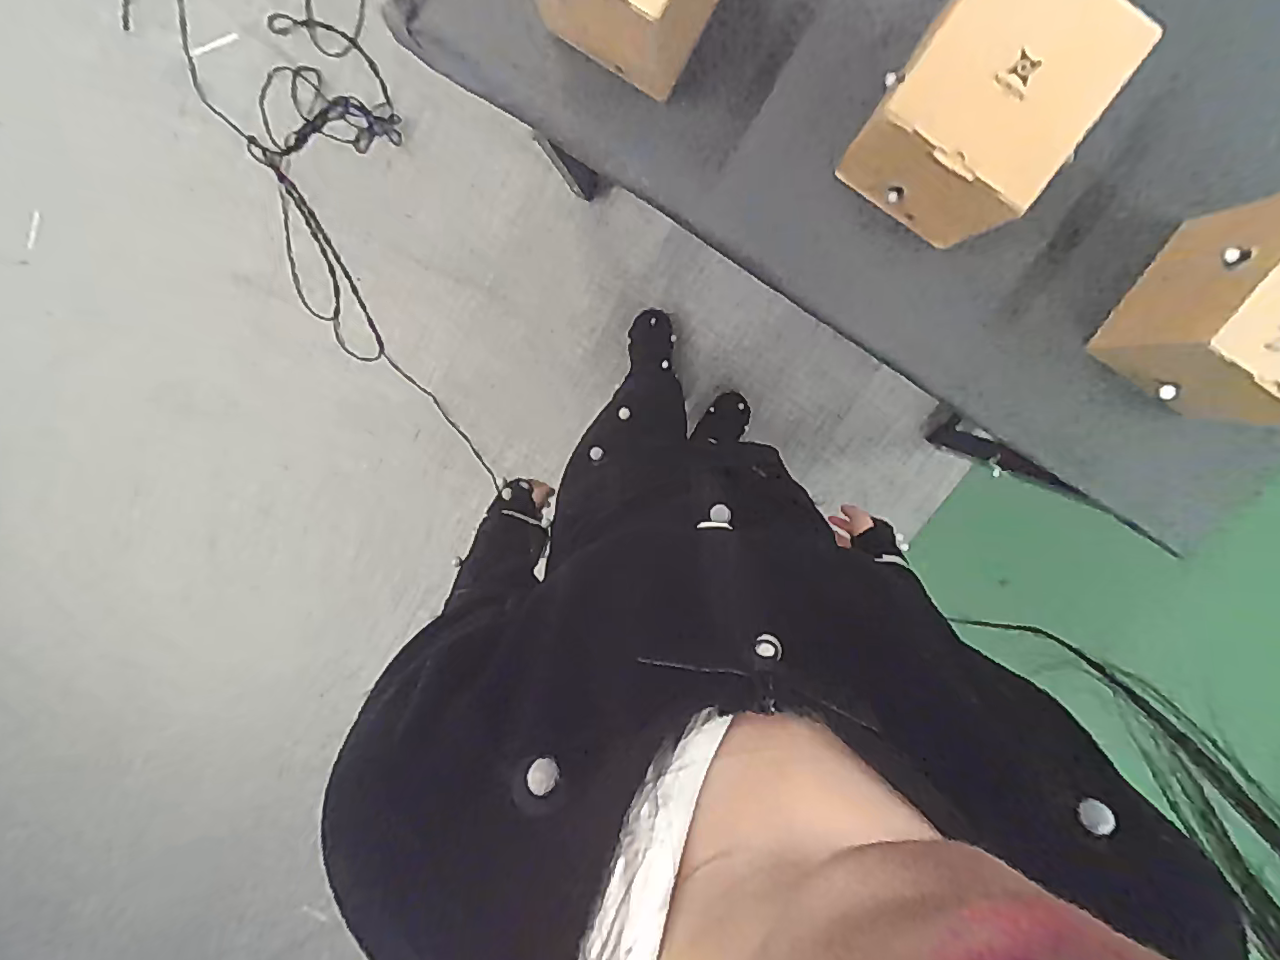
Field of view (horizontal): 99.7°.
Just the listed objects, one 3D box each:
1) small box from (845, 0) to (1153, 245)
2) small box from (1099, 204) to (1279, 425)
[{"bbox_3d":[0.346,-0.381,0.568,0.168,0.176,0.179,33,103,-3],"label":"small box"},{"bbox_3d":[0.664,-0.177,0.579,0.168,0.176,0.179,32,103,-1],"label":"small box"}]
